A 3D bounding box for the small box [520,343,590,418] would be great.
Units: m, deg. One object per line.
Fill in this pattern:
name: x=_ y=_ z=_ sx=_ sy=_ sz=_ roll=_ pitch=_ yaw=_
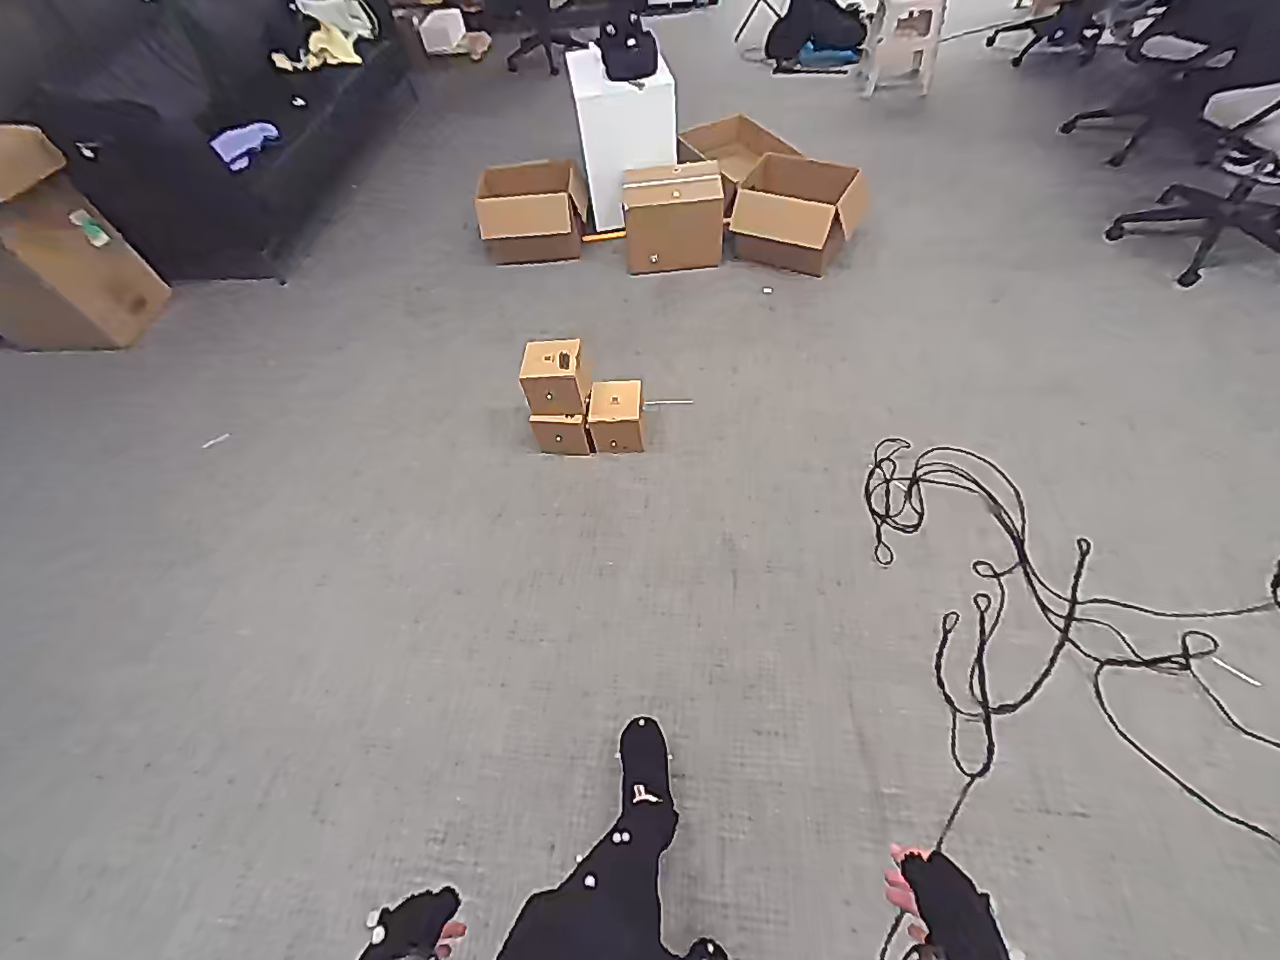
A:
small box: x=-0.260 y=-0.313 z=1.715 sx=0.179 sy=0.176 sz=0.168 roll=-2 pitch=54 yaw=7
